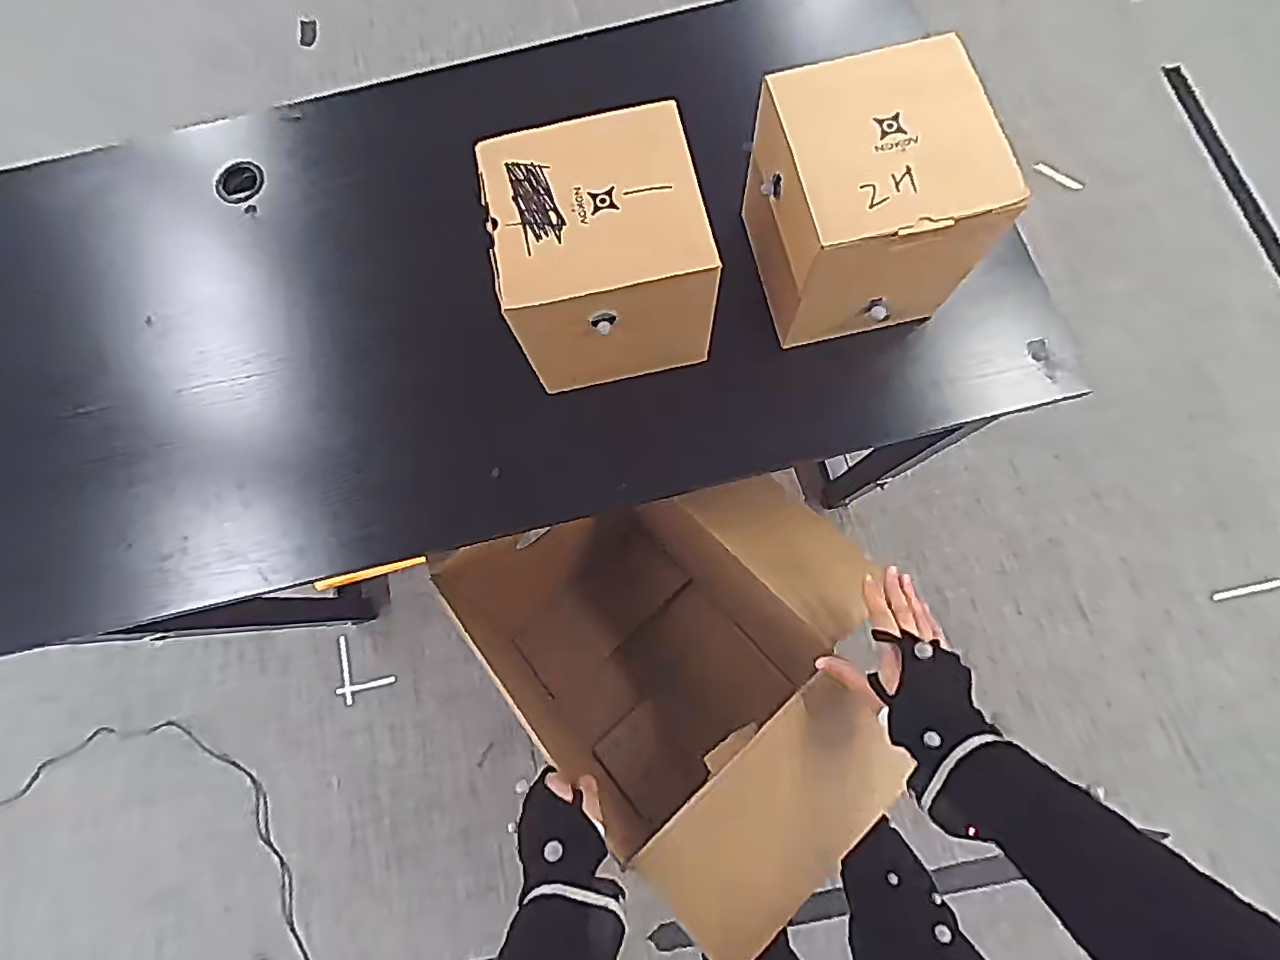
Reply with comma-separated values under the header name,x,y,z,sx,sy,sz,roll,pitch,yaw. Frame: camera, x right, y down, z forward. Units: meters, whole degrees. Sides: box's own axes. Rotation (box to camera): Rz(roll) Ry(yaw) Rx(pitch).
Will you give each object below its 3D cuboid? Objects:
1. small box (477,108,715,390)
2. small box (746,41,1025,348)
name,x,y,z,sx,sy,sz,roll,pitch,yaw
small box,-0.035,-0.201,0.515,0.179,0.176,0.168,-11,76,0
small box,0.205,-0.253,0.511,0.168,0.176,0.179,-12,76,2
